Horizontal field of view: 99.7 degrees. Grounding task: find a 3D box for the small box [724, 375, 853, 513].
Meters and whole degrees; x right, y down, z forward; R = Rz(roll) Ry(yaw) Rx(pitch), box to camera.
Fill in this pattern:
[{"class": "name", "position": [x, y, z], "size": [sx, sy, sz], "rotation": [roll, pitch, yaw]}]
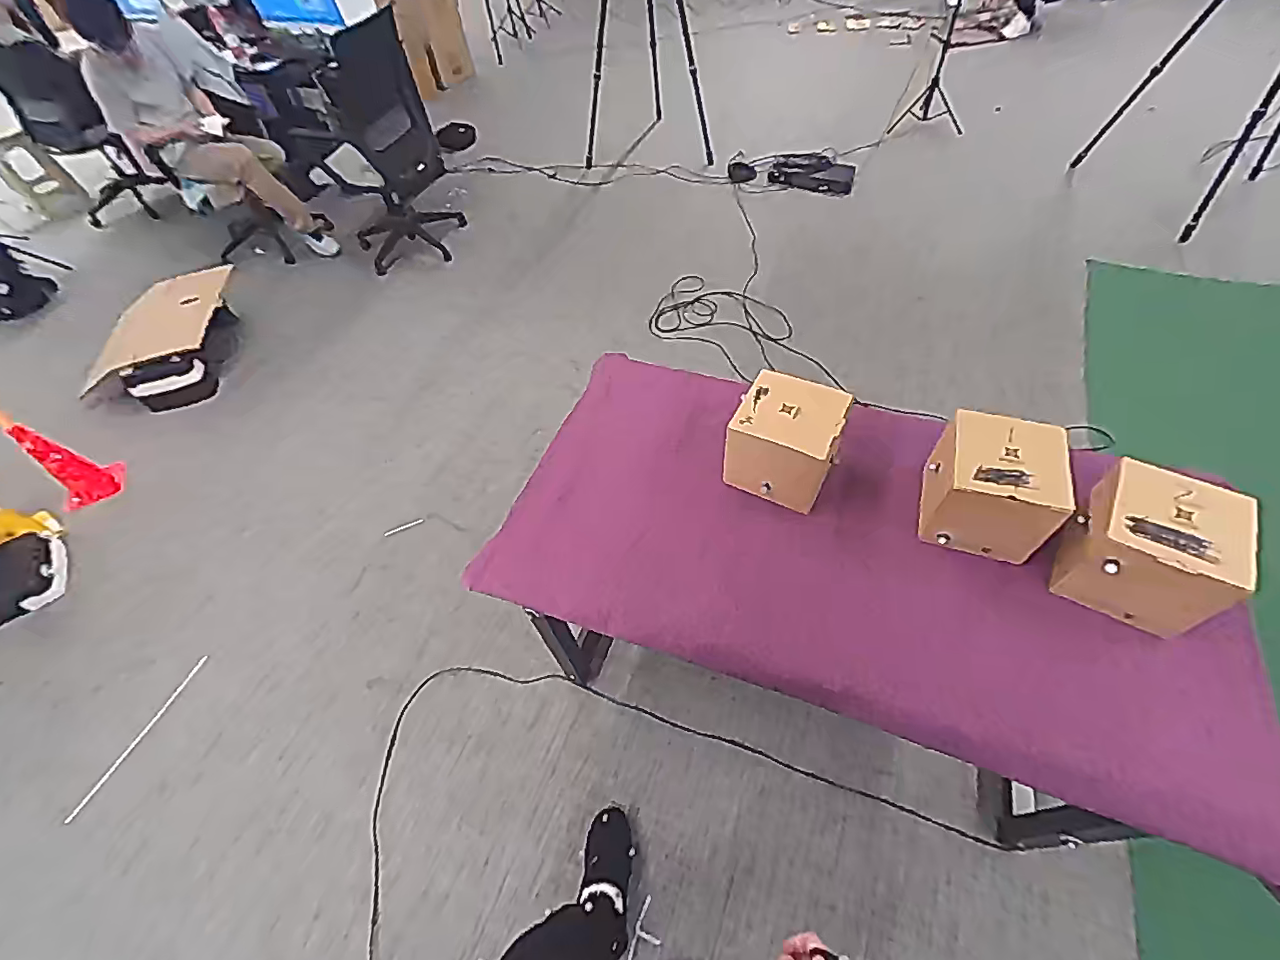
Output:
[{"class": "small box", "position": [0.270, -0.061, 1.012], "size": [0.179, 0.176, 0.168], "rotation": [23, 58, 21]}]
